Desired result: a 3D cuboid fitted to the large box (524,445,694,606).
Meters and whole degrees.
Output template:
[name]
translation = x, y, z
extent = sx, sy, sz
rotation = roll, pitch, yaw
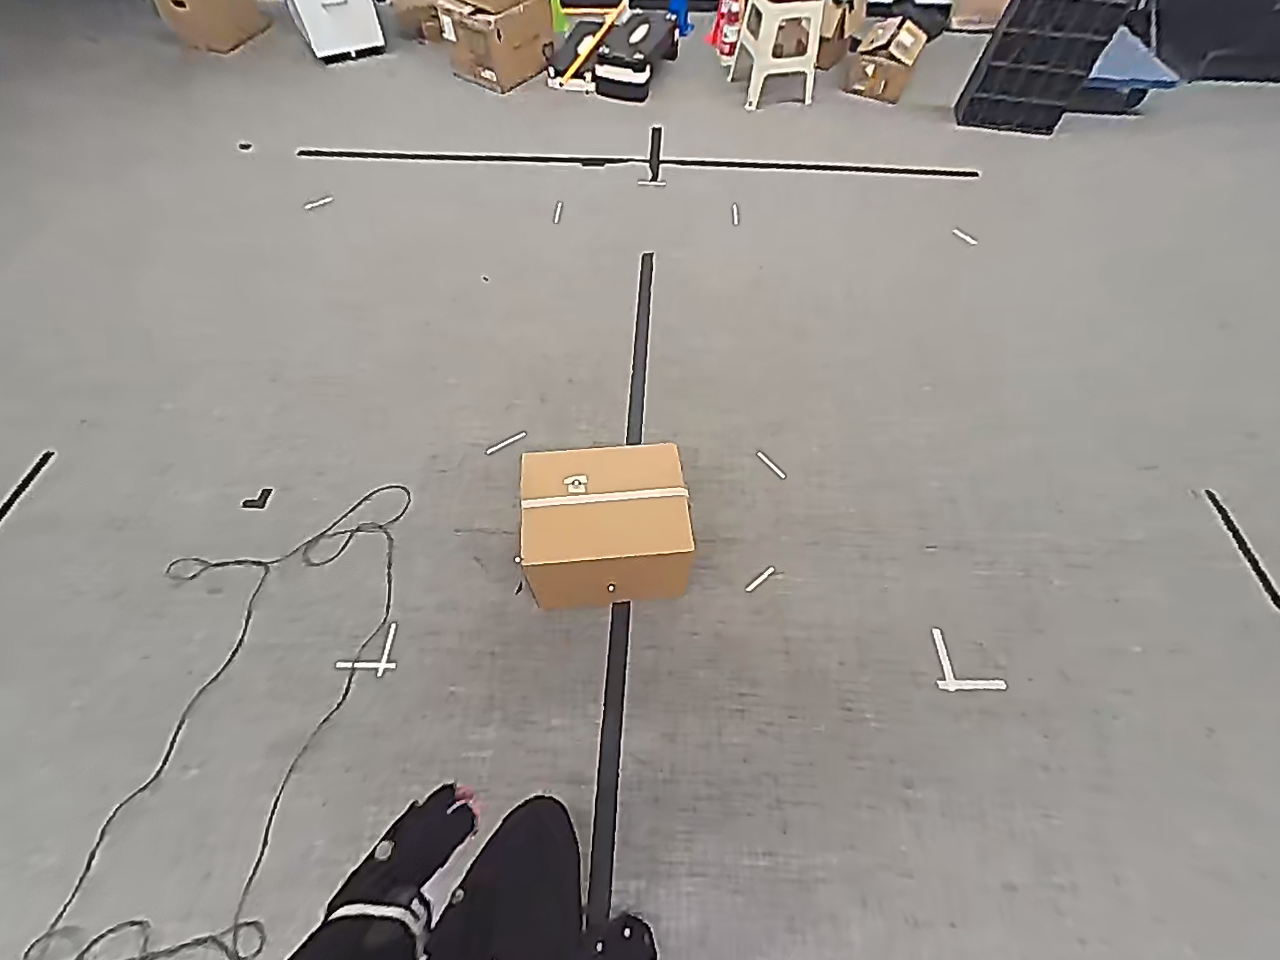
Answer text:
[large box]
translation = -0.084, 0.130, 1.454
extent = 0.408, 0.320, 0.320
rotation = -4, 58, -3
